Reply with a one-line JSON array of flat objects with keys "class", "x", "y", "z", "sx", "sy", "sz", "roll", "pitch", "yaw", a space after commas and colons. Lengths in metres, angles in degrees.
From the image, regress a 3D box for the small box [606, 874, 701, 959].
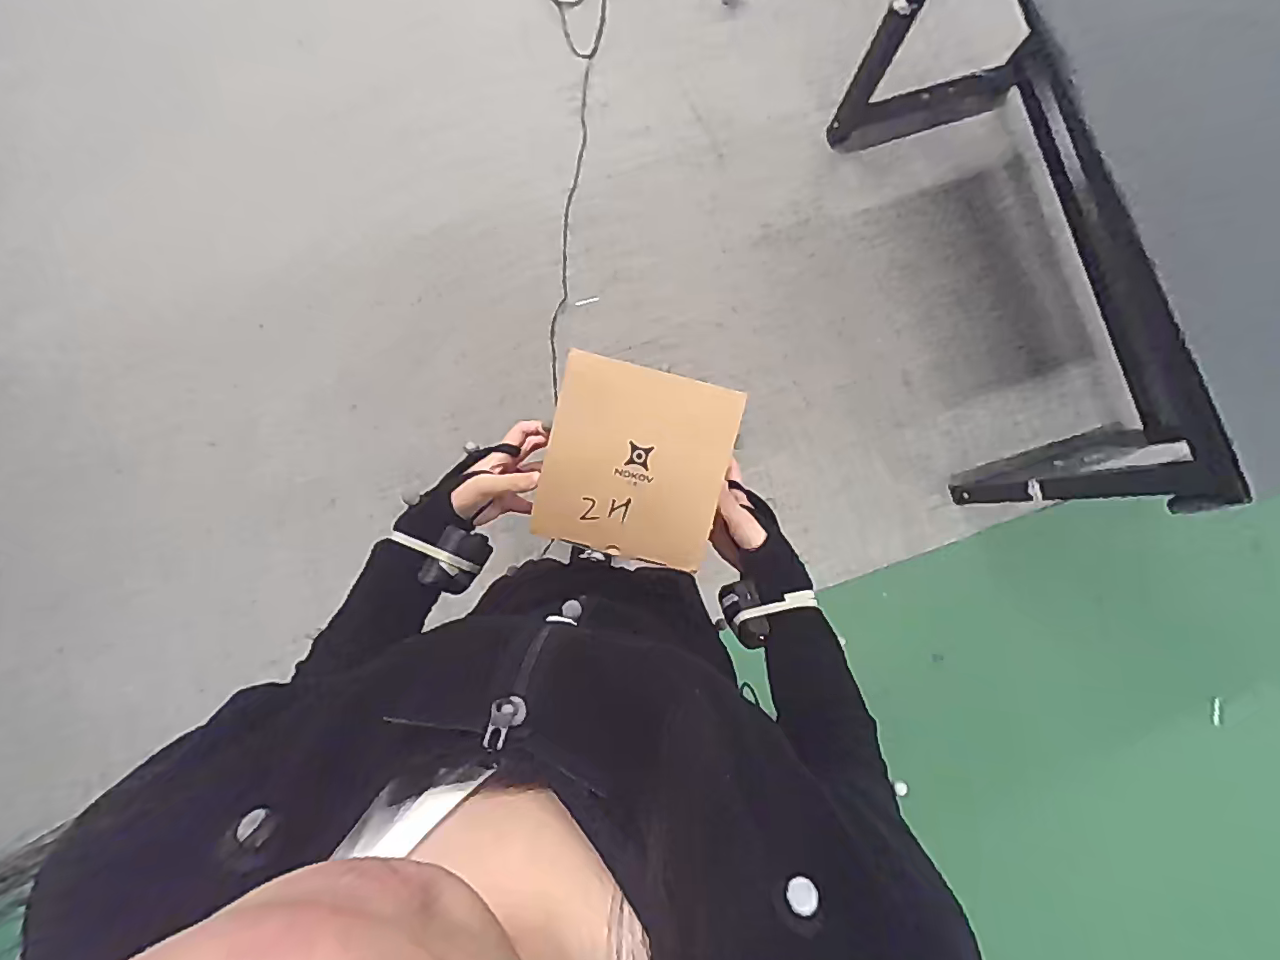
[{"class": "small box", "x": 0.035, "y": 1.041, "z": 1.204, "sx": 0.168, "sy": 0.176, "sz": 0.179, "roll": -23, "pitch": 87, "yaw": -3}]
